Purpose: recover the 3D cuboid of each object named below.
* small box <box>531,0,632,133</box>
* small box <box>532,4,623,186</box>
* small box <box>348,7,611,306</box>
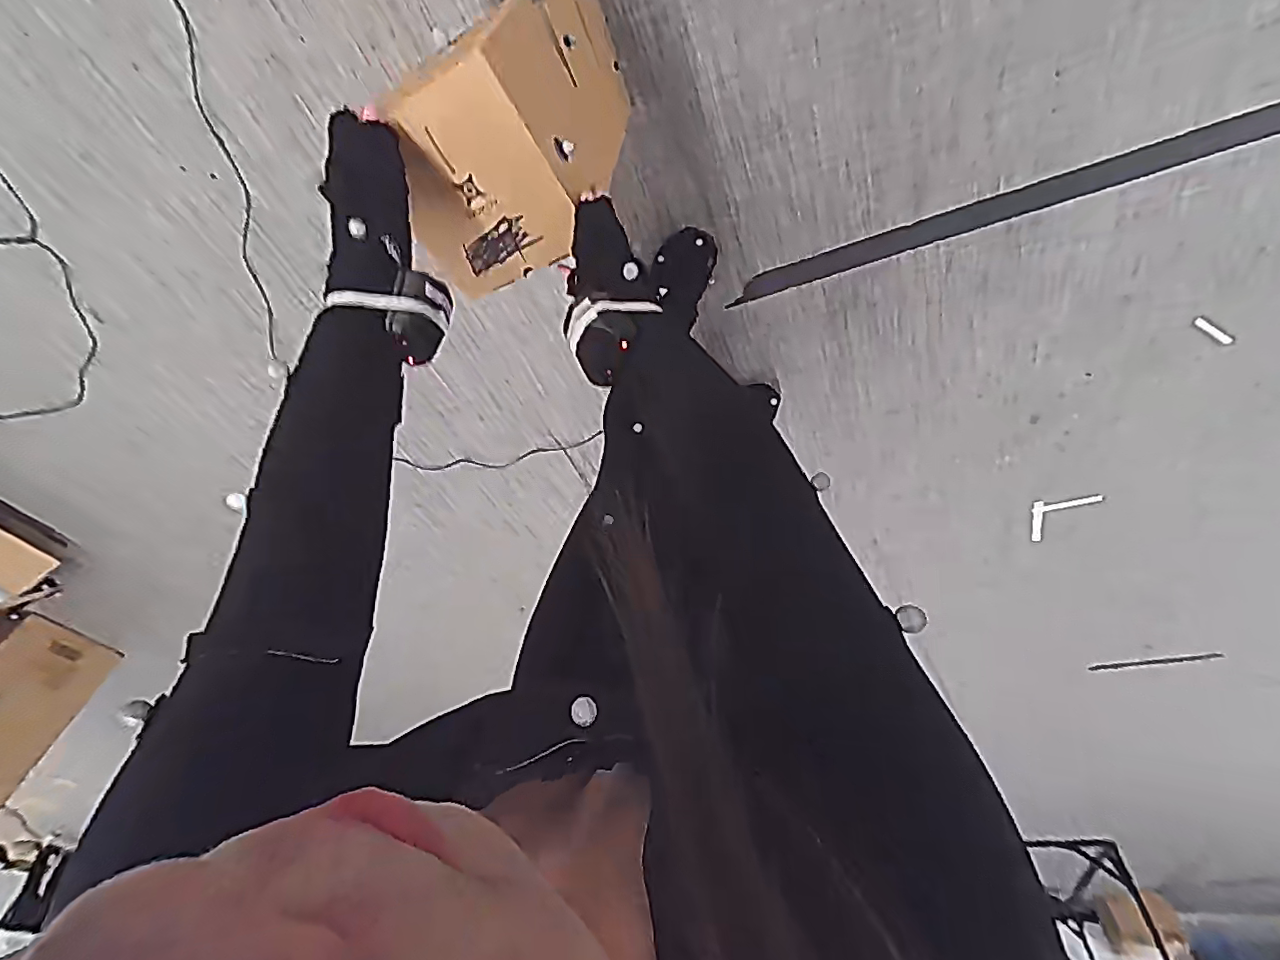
[{"bbox_3d":[-0.123,-0.582,0.804,0.179,0.176,0.168,-12,133,17],"label":"small box"},{"bbox_3d":[-0.132,-0.463,0.695,0.168,0.176,0.179,-15,131,20],"label":"small box"},{"bbox_3d":[-0.143,-0.319,0.551,0.168,0.176,0.179,-14,141,26],"label":"small box"}]
